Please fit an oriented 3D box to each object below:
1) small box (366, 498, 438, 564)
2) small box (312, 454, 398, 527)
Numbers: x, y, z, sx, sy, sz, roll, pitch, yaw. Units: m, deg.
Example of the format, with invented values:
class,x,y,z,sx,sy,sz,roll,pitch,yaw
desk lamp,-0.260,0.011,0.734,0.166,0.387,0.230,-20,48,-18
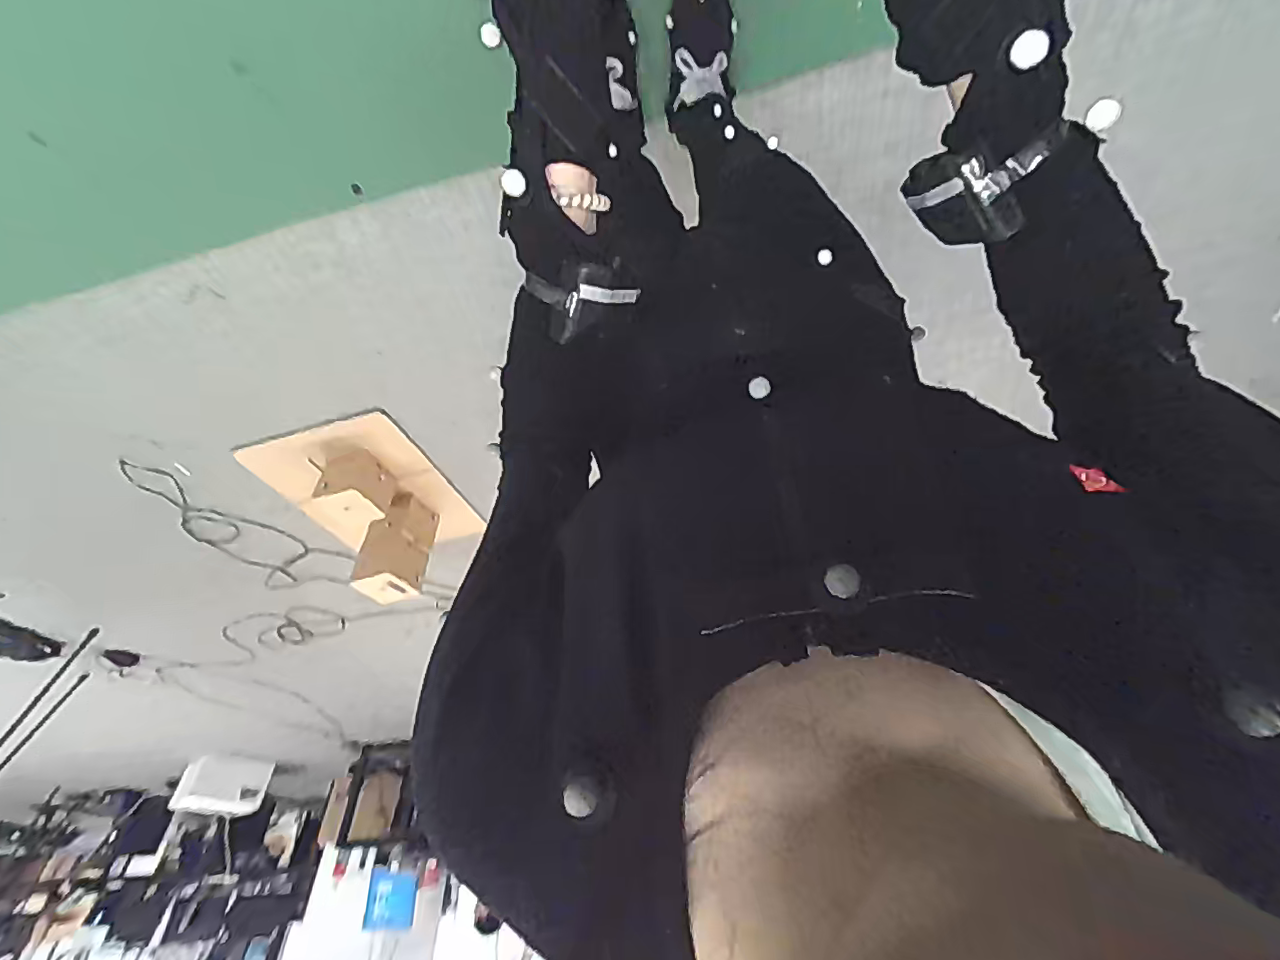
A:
class,x,y,z,sx,sy,sz,roll,pitch,yaw
small box,-0.881,0.188,2.028,0.179,0.176,0.168,-15,138,15
small box,-0.965,0.035,1.848,0.179,0.176,0.168,-13,140,12
